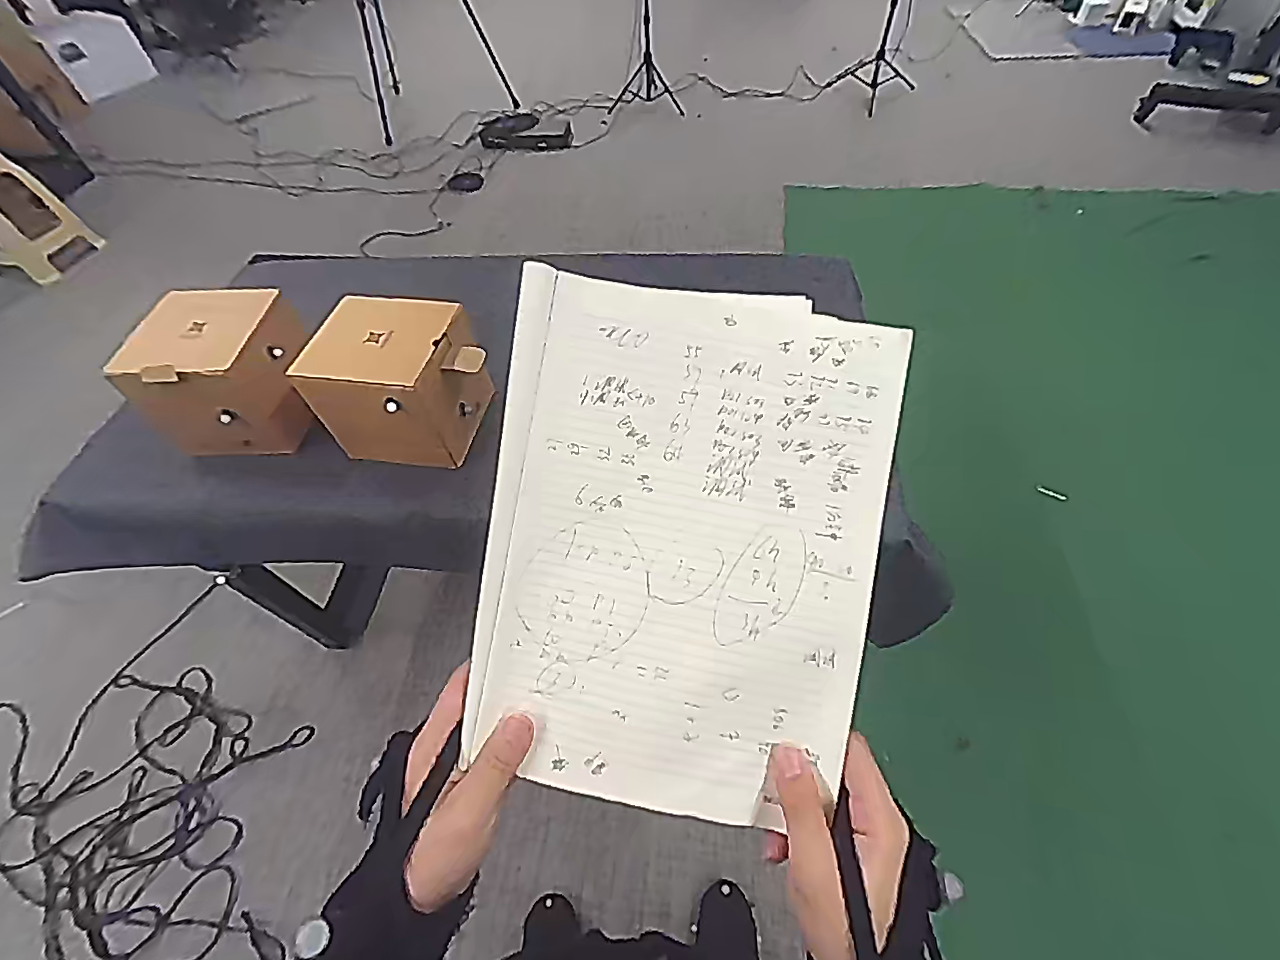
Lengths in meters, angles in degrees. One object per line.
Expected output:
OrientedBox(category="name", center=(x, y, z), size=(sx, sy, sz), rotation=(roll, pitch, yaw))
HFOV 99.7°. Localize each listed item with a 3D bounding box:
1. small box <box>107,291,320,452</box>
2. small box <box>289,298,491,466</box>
OrientedBox(category="small box", center=(-0.593, -0.154, 0.796), size=(0.168, 0.176, 0.179), rotation=(-1, 53, 1))
OrientedBox(category="small box", center=(-0.336, -0.135, 0.769), size=(0.179, 0.176, 0.168), rotation=(6, 54, 7))
